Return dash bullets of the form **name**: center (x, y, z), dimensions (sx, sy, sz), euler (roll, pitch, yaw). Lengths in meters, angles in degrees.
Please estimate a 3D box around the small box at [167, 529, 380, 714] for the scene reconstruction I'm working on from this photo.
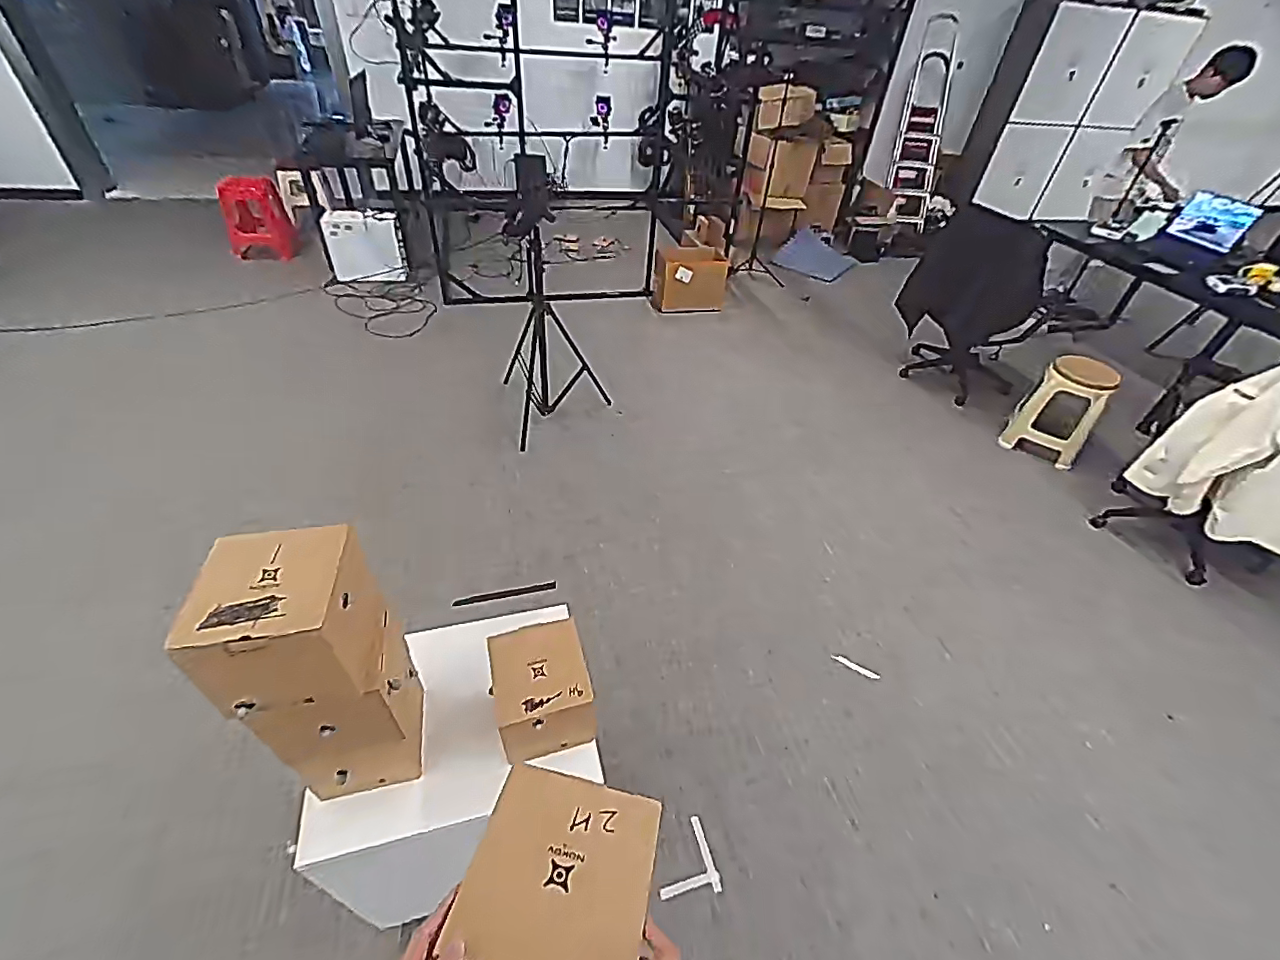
- **small box**: center (-0.463, 0.192, 0.722), dimensions (0.168, 0.176, 0.179), euler (-5, 42, -11)

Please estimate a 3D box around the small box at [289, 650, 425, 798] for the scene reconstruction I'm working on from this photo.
- **small box**: center (-0.479, 0.431, 0.947), dimensions (0.168, 0.176, 0.179), euler (-7, 43, -14)

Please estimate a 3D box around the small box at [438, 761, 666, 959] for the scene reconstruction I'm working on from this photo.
- **small box**: center (-0.080, 0.427, 0.534), dimensions (0.168, 0.176, 0.179), euler (14, 26, 5)

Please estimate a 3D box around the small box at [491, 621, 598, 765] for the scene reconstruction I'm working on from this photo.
- **small box**: center (-0.179, 0.398, 1.011), dimensions (0.168, 0.176, 0.179), euler (-10, 44, -15)
